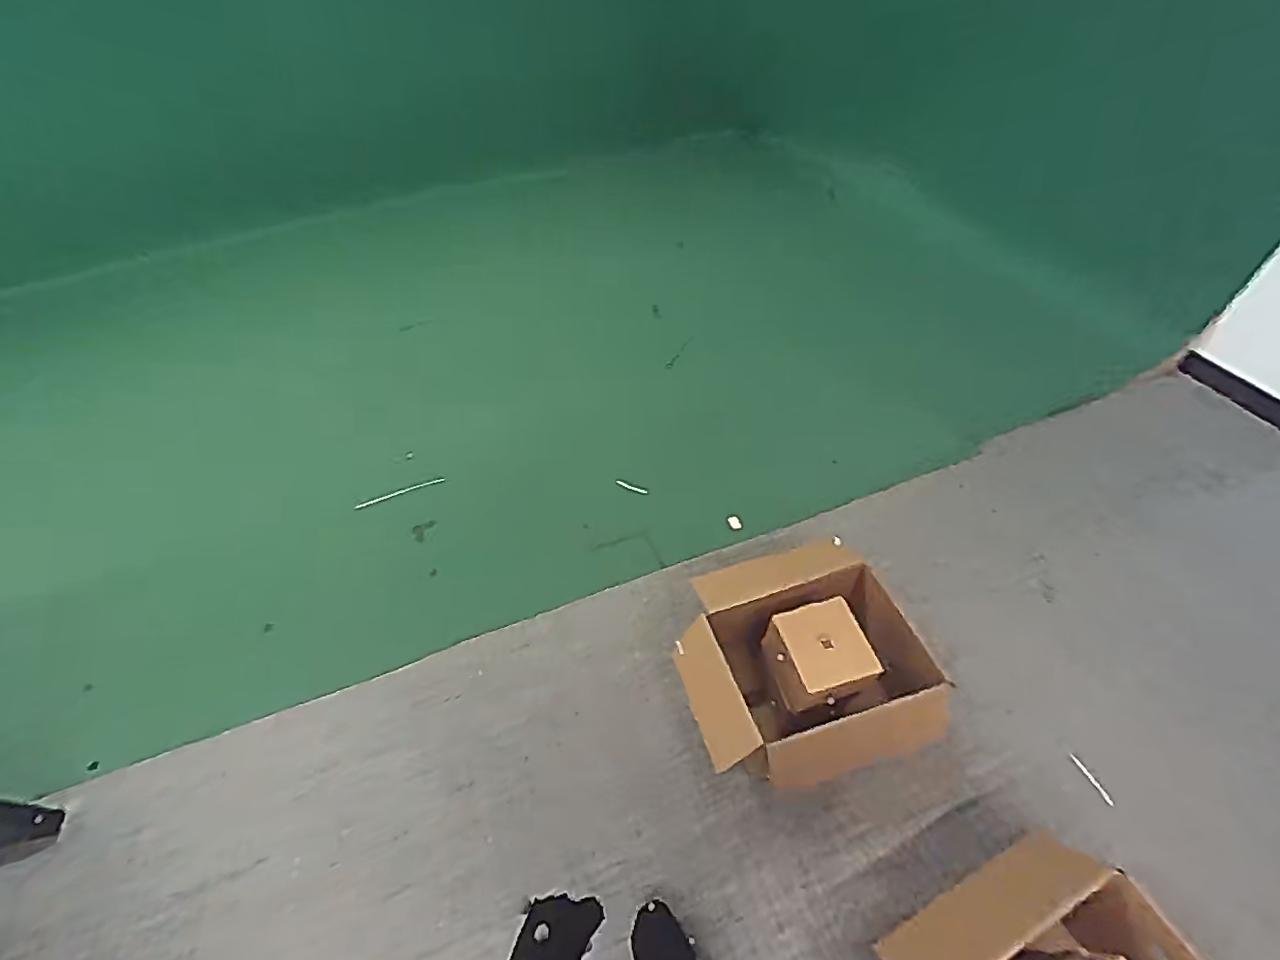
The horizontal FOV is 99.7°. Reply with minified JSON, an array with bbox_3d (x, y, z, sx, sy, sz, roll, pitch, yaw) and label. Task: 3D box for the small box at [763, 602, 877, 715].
[{"bbox_3d":[0.387,0.401,1.197,0.168,0.176,0.179,-14,51,-8],"label":"small box"}]
